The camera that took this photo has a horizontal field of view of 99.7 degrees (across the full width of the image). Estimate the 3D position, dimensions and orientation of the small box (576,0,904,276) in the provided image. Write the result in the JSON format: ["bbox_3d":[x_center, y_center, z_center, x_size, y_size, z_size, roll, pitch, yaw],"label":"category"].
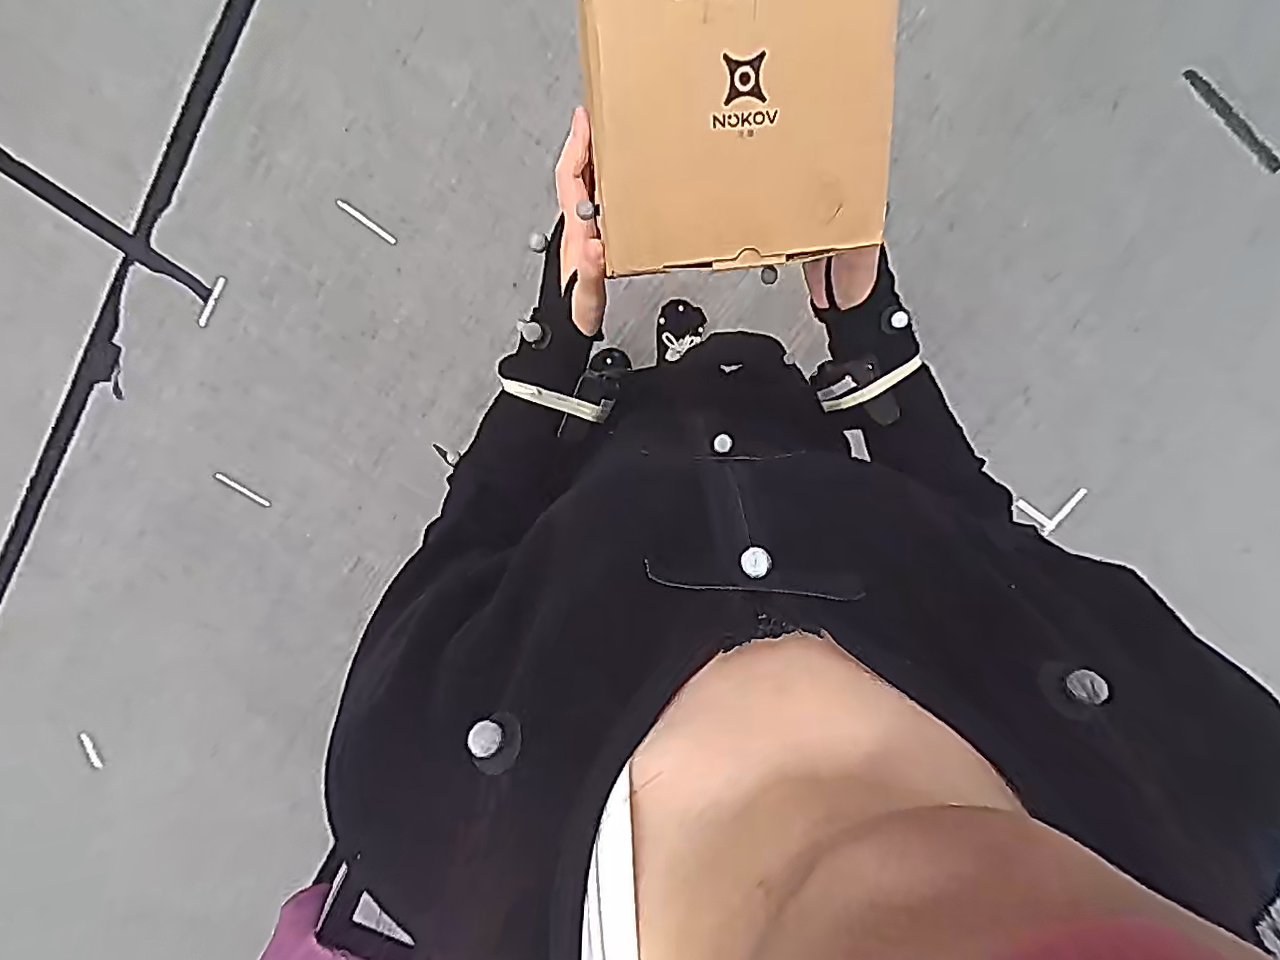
[{"bbox_3d":[0.050,-0.237,0.360,0.168,0.176,0.179,-8,110,-4],"label":"small box"}]
